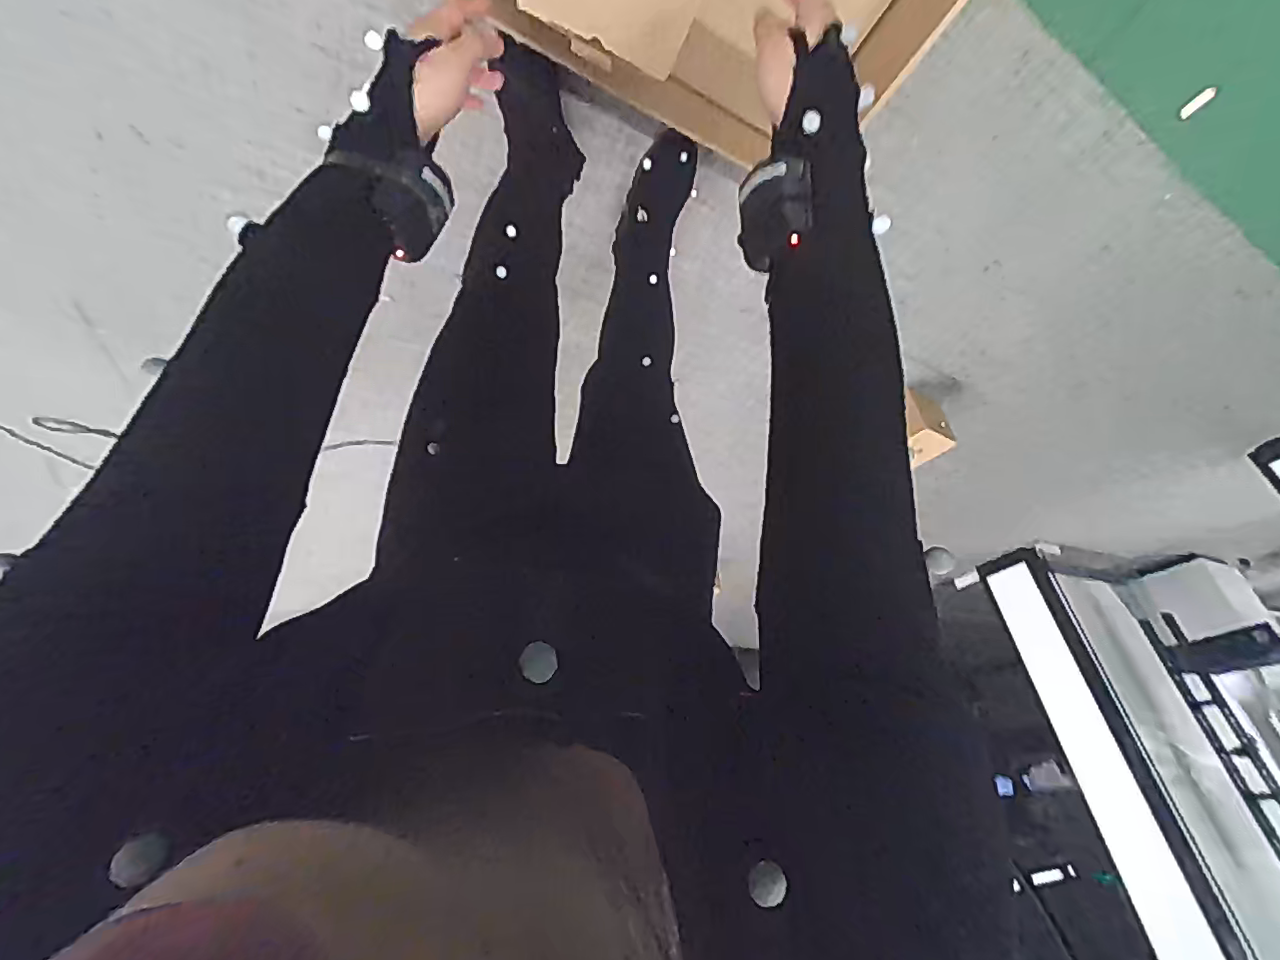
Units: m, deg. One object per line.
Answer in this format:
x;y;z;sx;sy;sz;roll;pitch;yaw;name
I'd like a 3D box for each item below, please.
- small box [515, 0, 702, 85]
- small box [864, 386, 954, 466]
-0.016;-0.551;0.529;0.168;0.176;0.179;10;147;-24;small box
0.845;-0.171;1.707;0.179;0.176;0.168;15;142;-30;small box
